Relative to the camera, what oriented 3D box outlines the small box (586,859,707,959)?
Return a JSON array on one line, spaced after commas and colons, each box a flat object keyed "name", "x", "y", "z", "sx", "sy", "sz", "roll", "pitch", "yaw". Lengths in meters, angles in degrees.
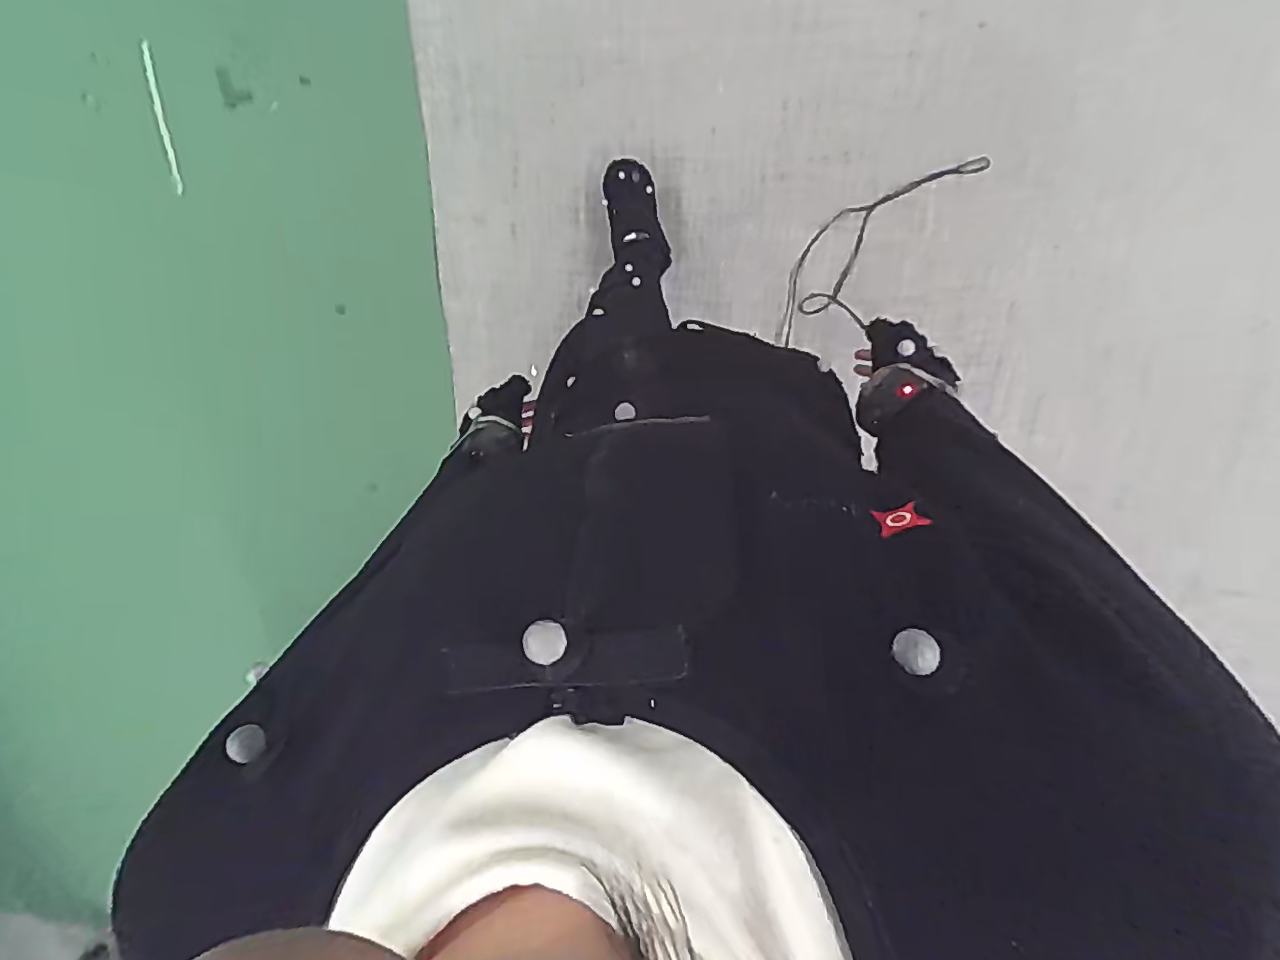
[{"name": "small box", "x": 0.019, "y": 0.777, "z": 0.906, "sx": 0.179, "sy": 0.176, "sz": 0.168, "roll": 0, "pitch": 111, "yaw": 9}]
